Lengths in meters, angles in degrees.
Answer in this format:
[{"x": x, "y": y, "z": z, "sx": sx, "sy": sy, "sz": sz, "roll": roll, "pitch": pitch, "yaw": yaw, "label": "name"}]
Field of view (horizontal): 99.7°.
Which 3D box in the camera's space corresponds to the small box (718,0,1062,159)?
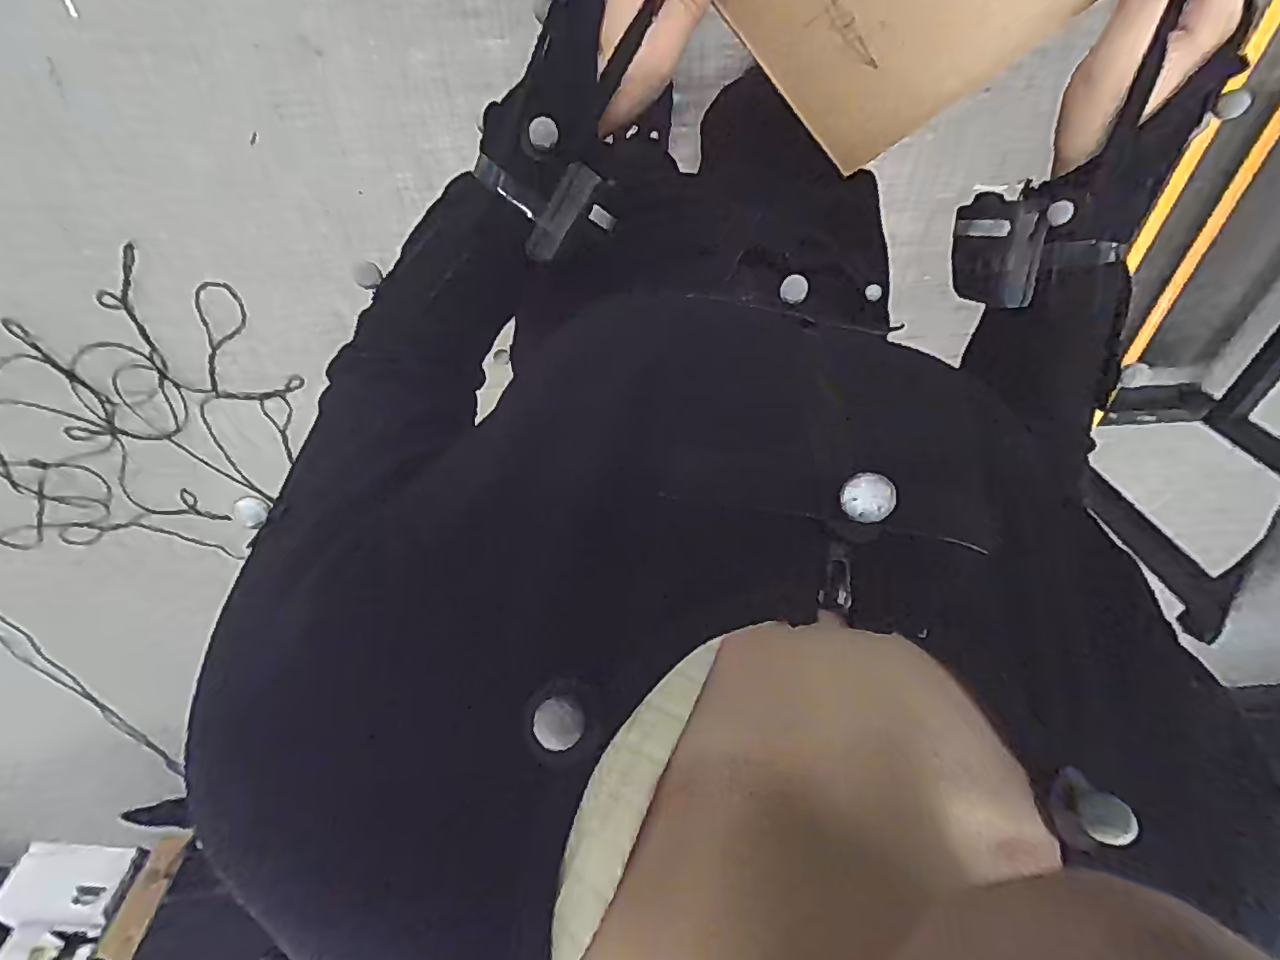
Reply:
[{"x": 0.139, "y": -0.335, "z": 0.288, "sx": 0.168, "sy": 0.176, "sz": 0.179, "roll": 28, "pitch": 147, "yaw": -33, "label": "small box"}]
